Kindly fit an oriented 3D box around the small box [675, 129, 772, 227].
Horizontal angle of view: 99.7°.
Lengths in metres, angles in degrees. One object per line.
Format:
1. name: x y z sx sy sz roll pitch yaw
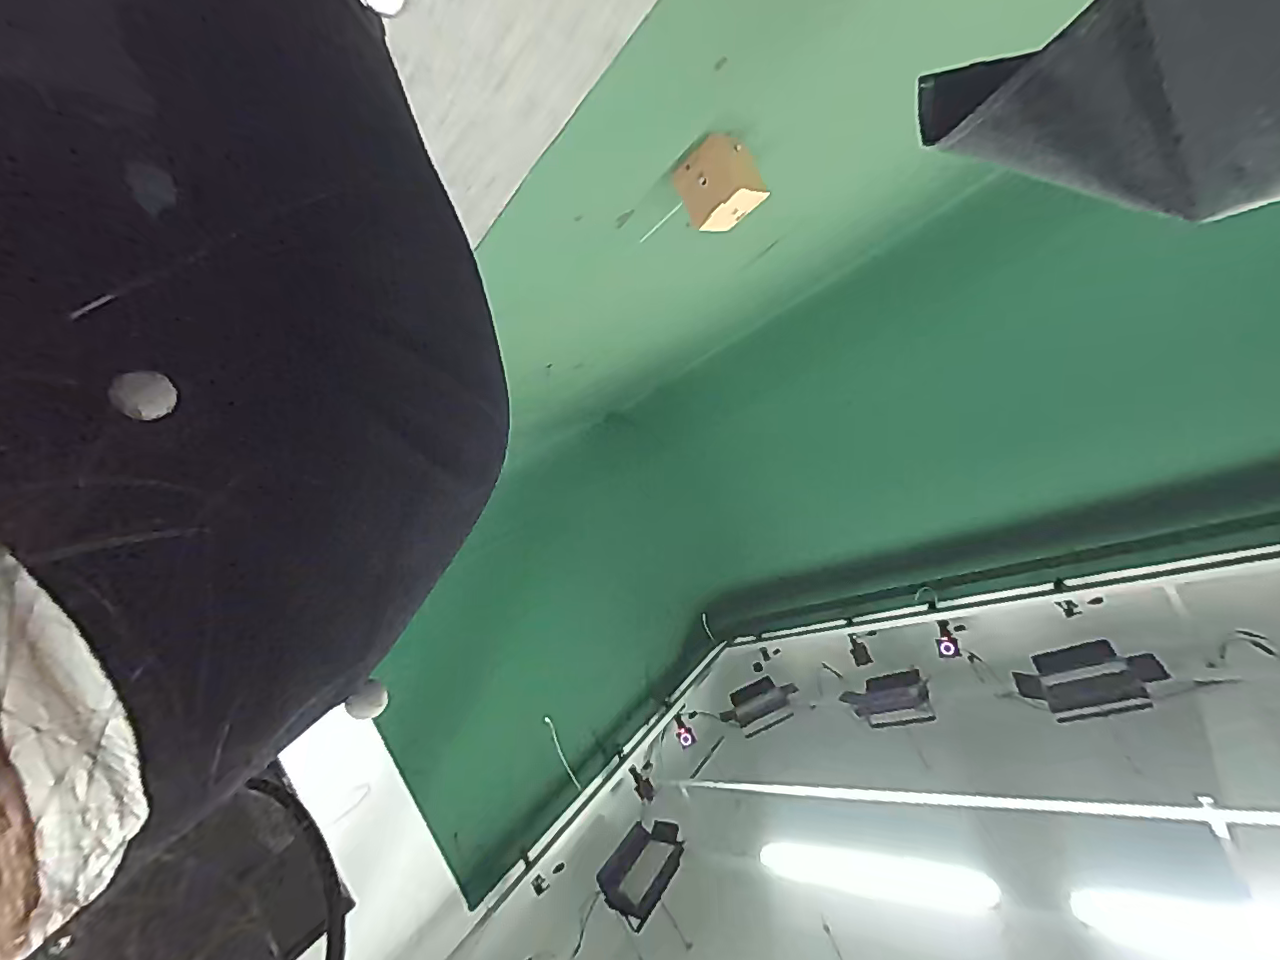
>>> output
1. small box: 0.227 -0.830 1.494 0.168 0.176 0.179 -25 180 43
